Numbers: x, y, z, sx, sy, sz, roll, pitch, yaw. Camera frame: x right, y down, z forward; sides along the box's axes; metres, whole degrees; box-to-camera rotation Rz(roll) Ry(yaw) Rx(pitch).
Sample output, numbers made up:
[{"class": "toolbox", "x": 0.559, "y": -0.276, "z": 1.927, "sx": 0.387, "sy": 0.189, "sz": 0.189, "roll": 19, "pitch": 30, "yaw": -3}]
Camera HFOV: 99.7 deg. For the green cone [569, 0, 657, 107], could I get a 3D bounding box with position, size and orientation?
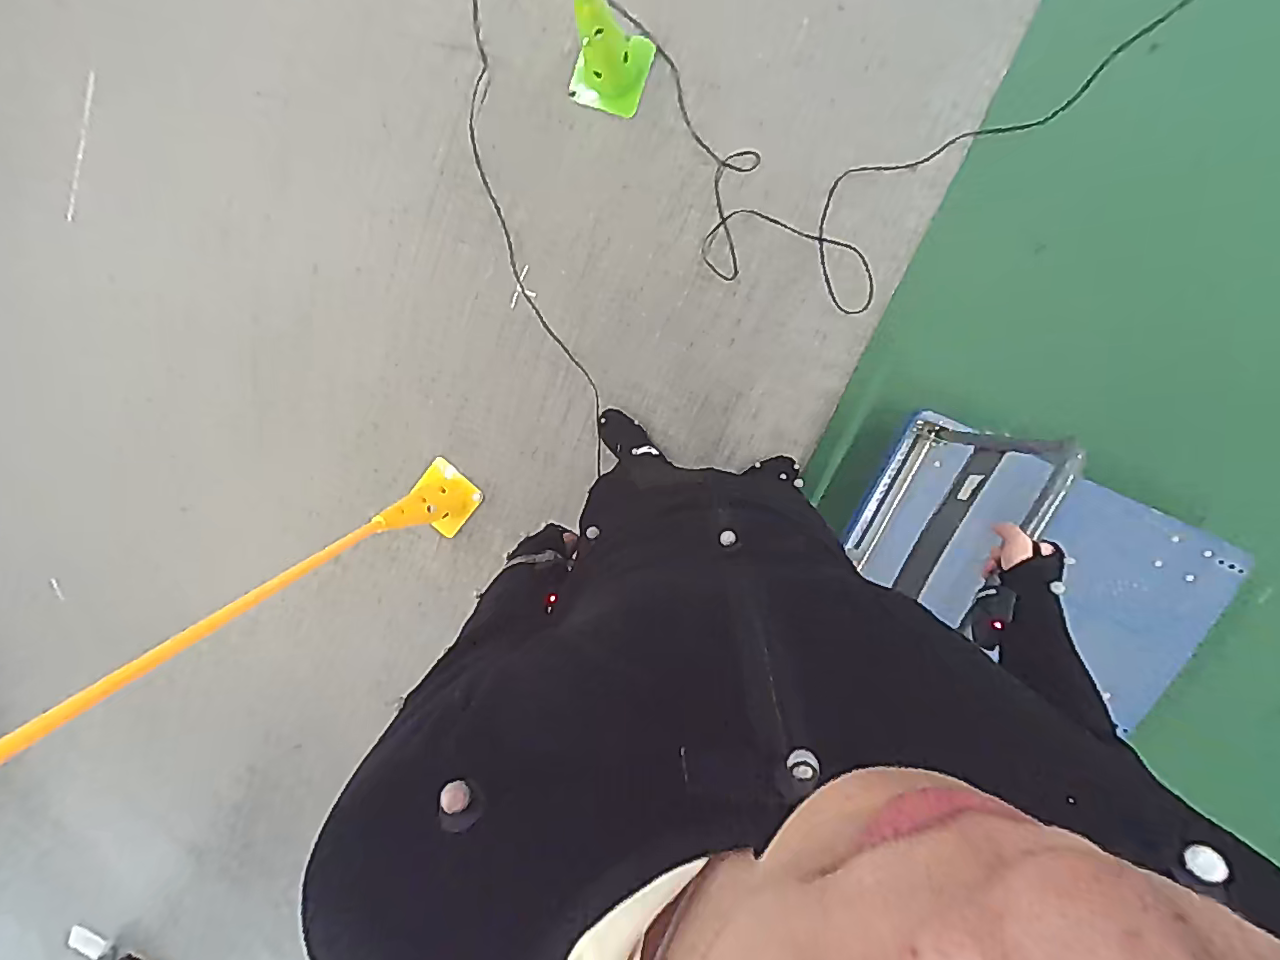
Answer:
[{"class": "green cone", "x": -0.097, "y": -1.103, "z": 1.285, "sx": 0.200, "sy": 0.368, "sz": 0.202, "roll": 21, "pitch": 100, "yaw": 4}]
